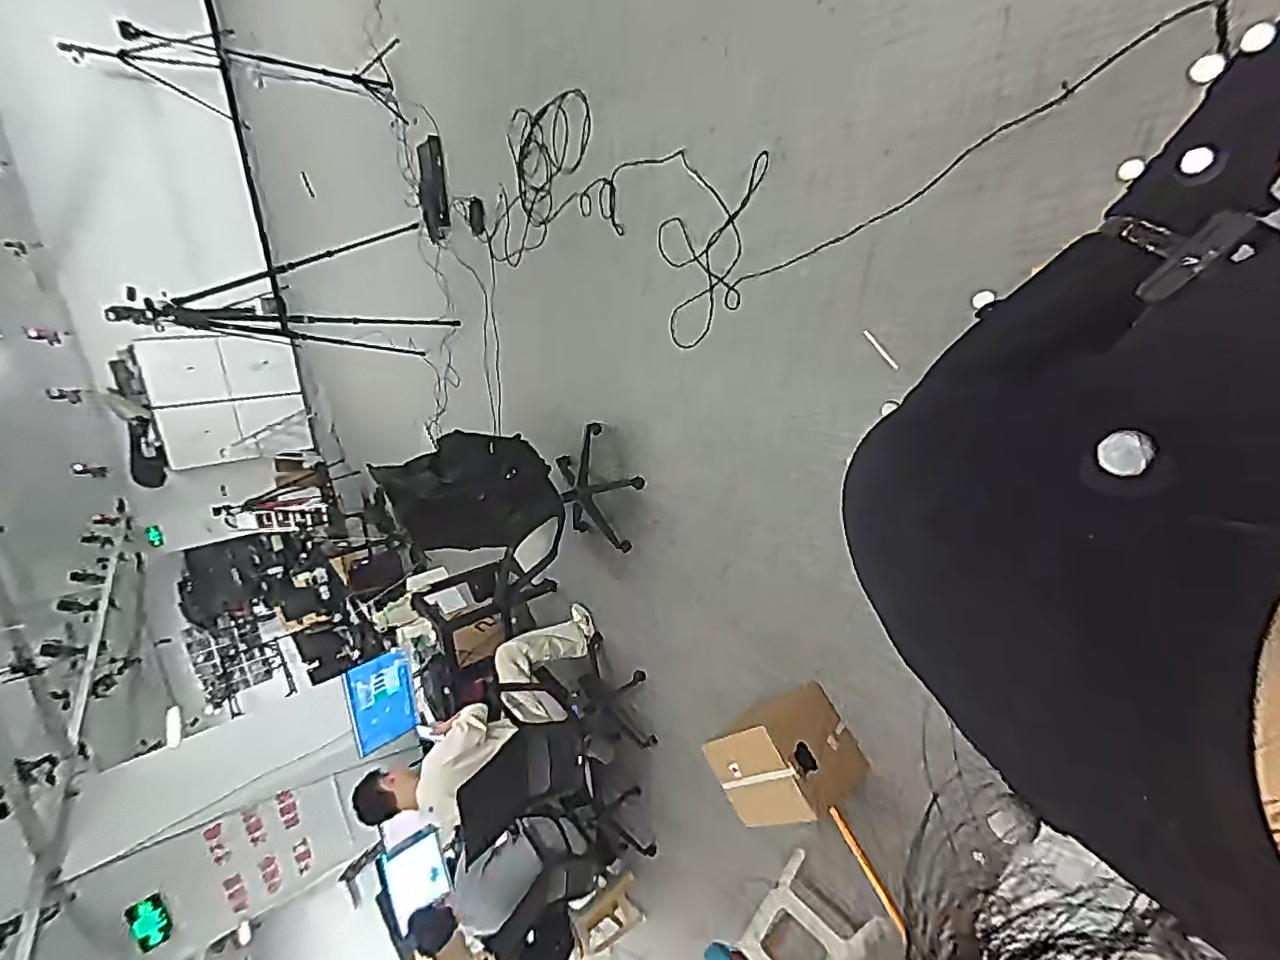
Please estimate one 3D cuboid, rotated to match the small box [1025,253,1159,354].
[{"bbox_3d":[0.904,-0.347,1.081,0.168,0.176,0.179,15,115,49],"label":"small box"}]
